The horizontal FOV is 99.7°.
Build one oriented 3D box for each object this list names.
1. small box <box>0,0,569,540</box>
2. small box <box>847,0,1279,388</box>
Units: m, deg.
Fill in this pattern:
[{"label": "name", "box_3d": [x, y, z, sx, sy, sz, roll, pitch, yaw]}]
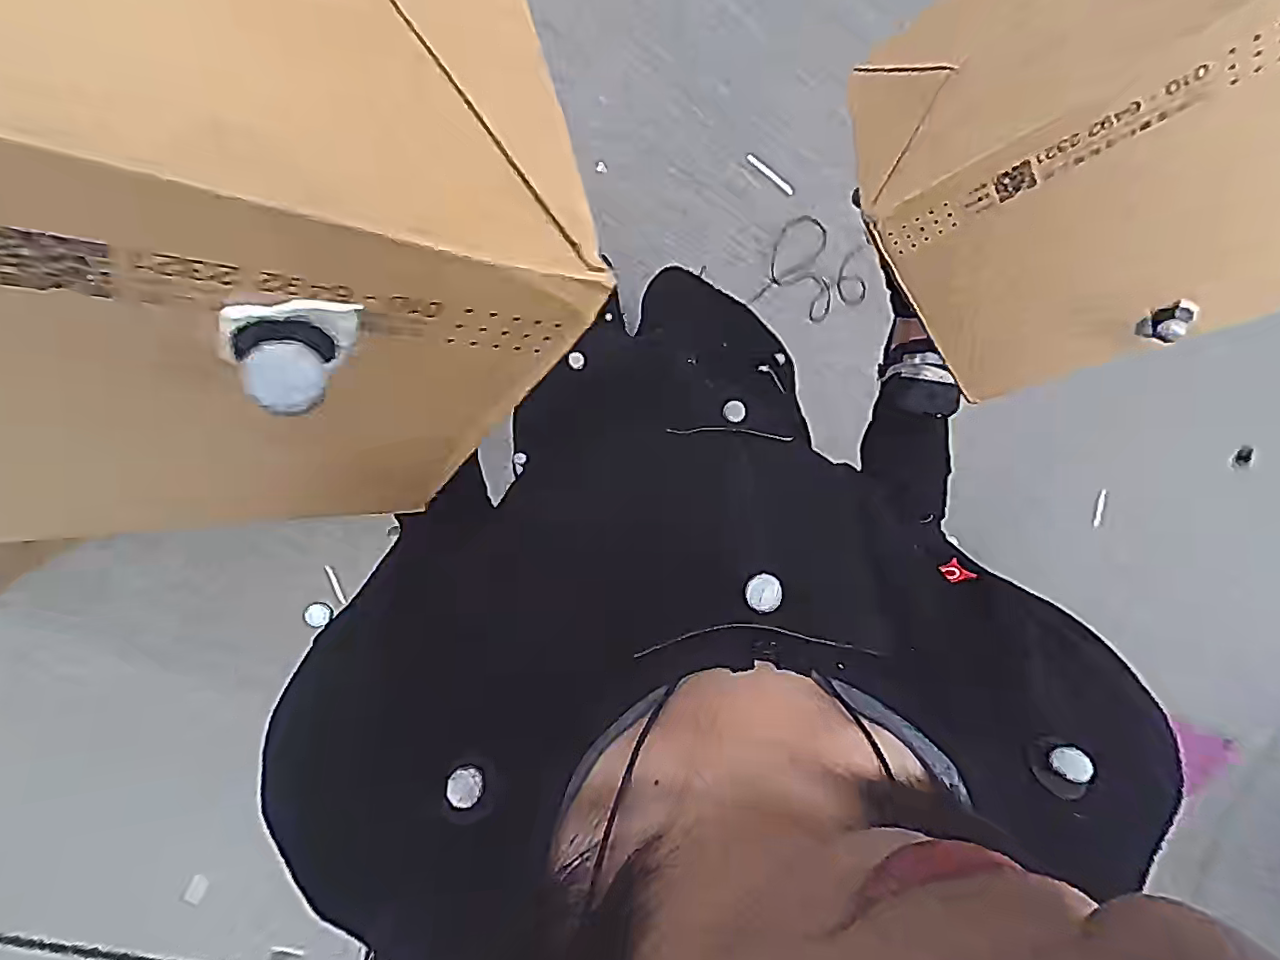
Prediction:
[{"label": "small box", "box_3d": [-0.142, -0.096, 0.164, 0.168, 0.179, 0.176, -5, 159, -39]}, {"label": "small box", "box_3d": [0.232, -0.191, 0.299, 0.176, 0.179, 0.168, 33, 142, -33]}]
